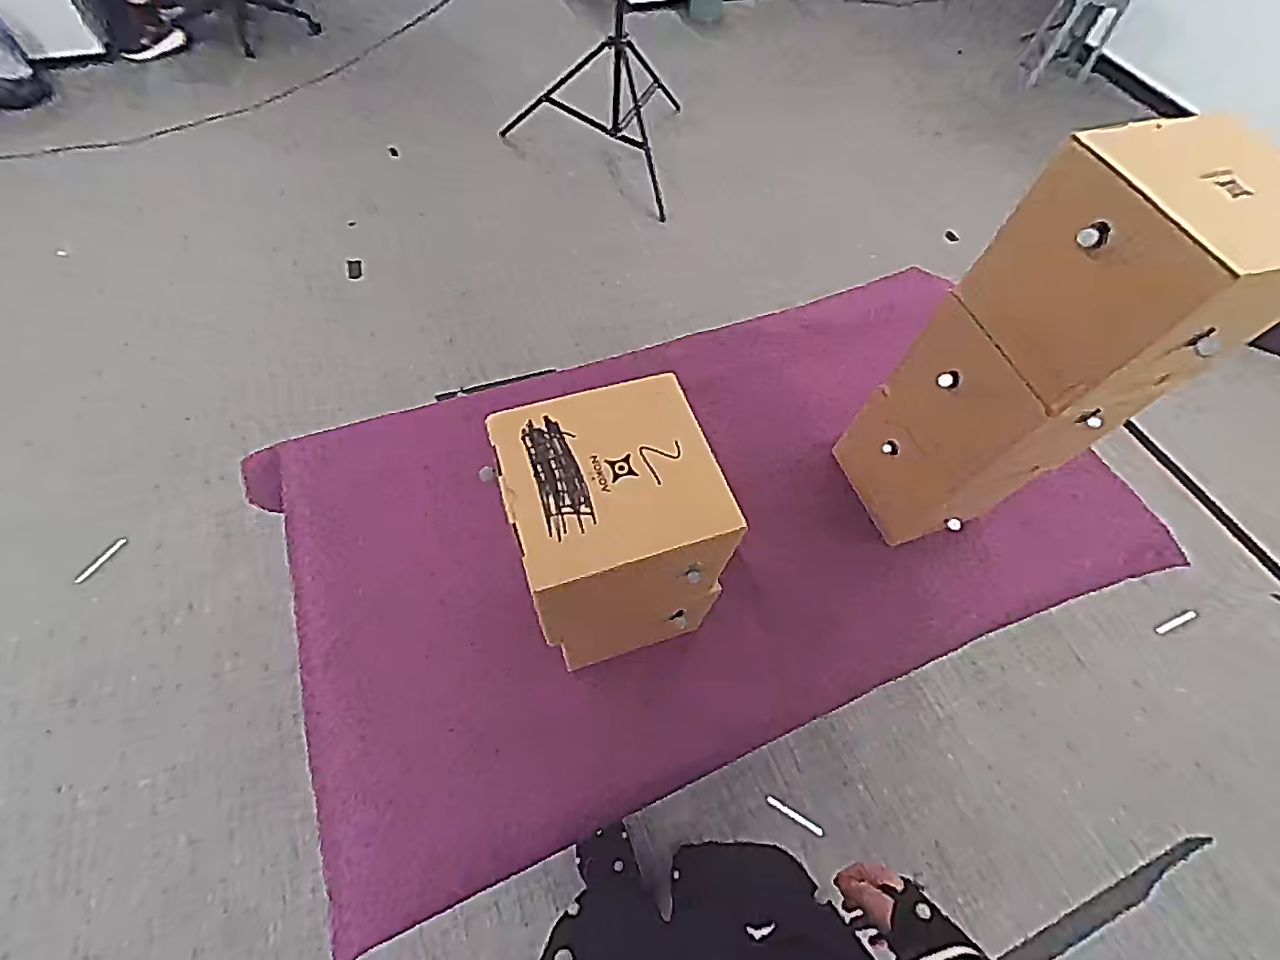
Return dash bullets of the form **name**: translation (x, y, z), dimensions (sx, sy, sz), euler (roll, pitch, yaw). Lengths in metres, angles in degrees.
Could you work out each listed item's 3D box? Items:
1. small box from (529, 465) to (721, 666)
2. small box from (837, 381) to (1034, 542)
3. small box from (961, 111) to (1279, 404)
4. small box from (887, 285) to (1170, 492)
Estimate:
- **small box**: translation (-0.026, 0.109, 0.657), dimensions (0.179, 0.176, 0.168), euler (-15, 62, -12)
- **small box**: translation (0.414, -0.037, 0.773), dimensions (0.168, 0.176, 0.179), euler (-16, 64, -12)
- **small box**: translation (0.441, -0.186, 0.483), dimensions (0.168, 0.176, 0.179), euler (-14, 63, -11)
- **small box**: translation (0.427, -0.112, 0.628), dimensions (0.168, 0.176, 0.179), euler (-14, 62, -11)
